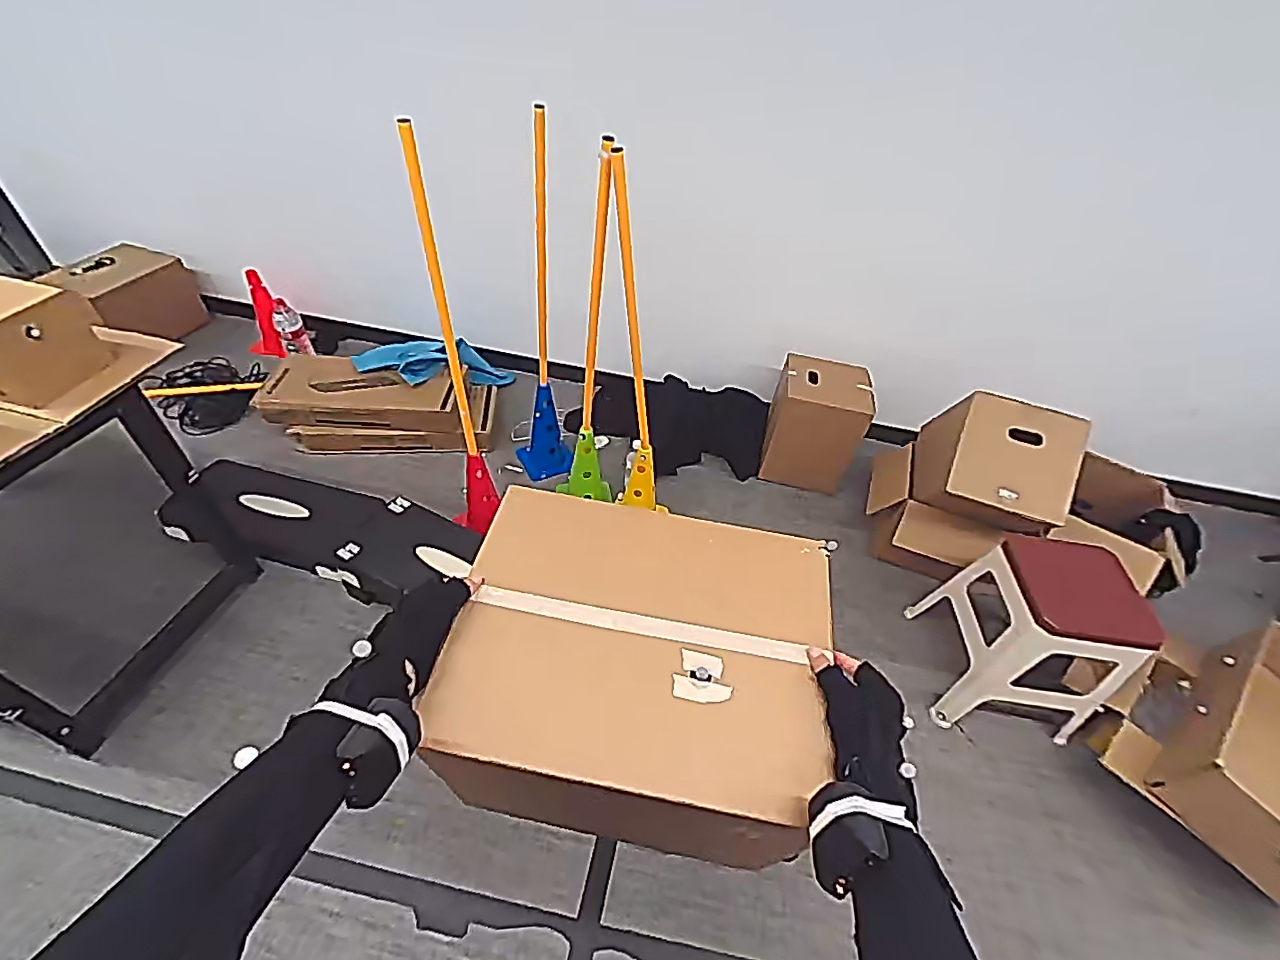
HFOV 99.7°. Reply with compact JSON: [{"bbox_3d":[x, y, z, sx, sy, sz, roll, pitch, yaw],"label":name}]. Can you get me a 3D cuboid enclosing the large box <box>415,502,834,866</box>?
[{"bbox_3d":[-0.008,0.268,0.706,0.408,0.320,0.320,10,50,3],"label":"large box"}]
